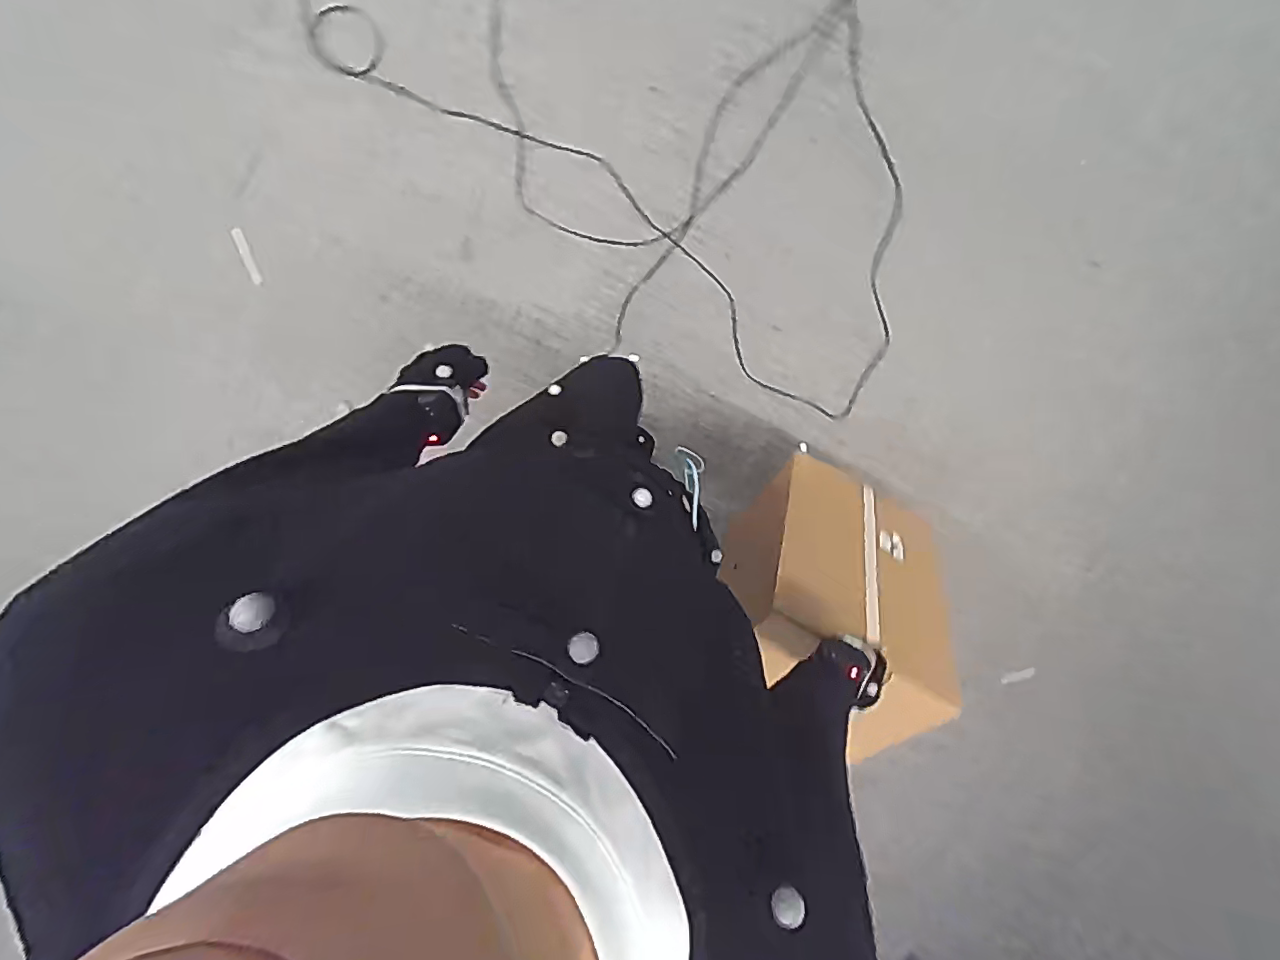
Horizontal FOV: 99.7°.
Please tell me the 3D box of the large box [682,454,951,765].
[{"bbox_3d":[0.314,0.235,1.015,0.320,0.408,0.320,30,131,-3],"label":"large box"}]
